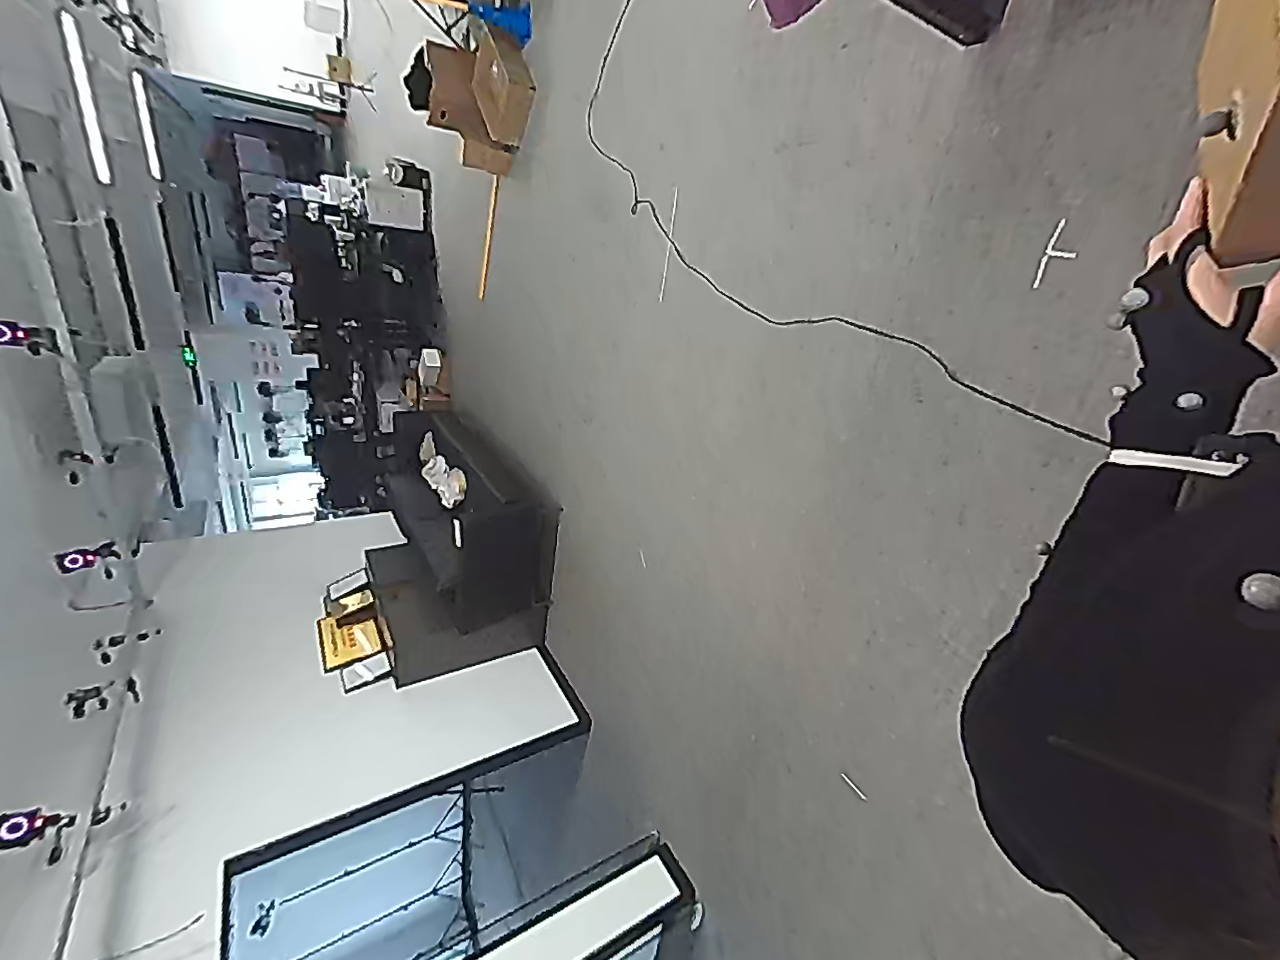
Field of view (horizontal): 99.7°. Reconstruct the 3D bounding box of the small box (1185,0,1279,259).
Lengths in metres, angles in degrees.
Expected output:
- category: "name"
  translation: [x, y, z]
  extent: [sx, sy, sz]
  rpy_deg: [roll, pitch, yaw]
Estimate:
- category: "small box"
  translation: [0.414, -0.251, 0.281]
  extent: [0.168, 0.179, 0.176]
  rpy_deg: [3, 80, 37]
